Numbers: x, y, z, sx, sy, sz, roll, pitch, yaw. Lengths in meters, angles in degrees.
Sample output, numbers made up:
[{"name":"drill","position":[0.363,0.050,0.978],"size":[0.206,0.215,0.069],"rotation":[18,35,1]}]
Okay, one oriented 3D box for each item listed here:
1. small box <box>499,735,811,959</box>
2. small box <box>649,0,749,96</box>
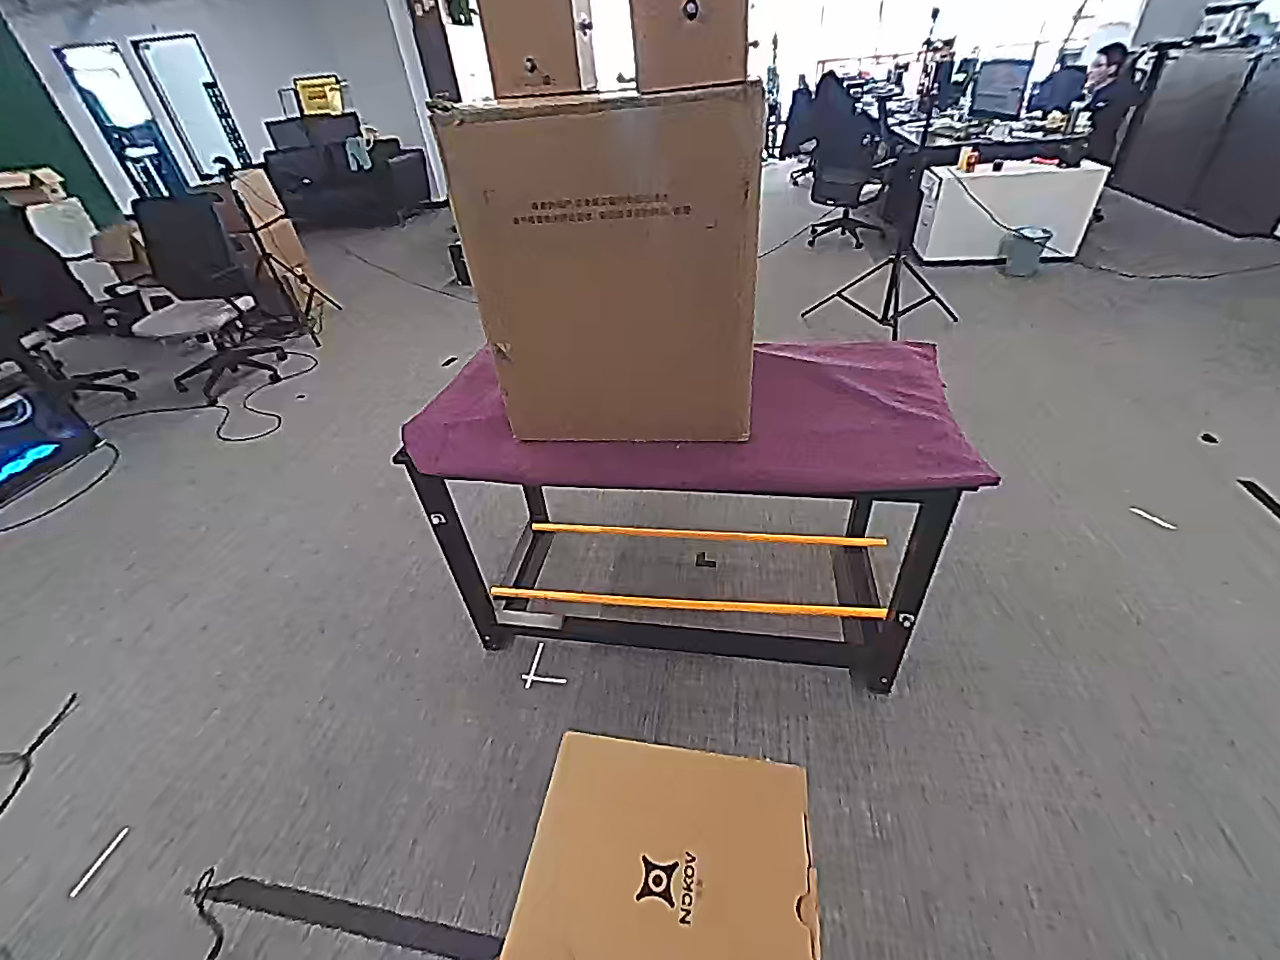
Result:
[{"name":"small box","position":[0.019,0.311,0.382],"size":[0.179,0.176,0.168],"rotation":[4,38,9]},{"name":"small box","position":[0.110,-0.804,0.976],"size":[0.168,0.176,0.179],"rotation":[1,38,11]}]
